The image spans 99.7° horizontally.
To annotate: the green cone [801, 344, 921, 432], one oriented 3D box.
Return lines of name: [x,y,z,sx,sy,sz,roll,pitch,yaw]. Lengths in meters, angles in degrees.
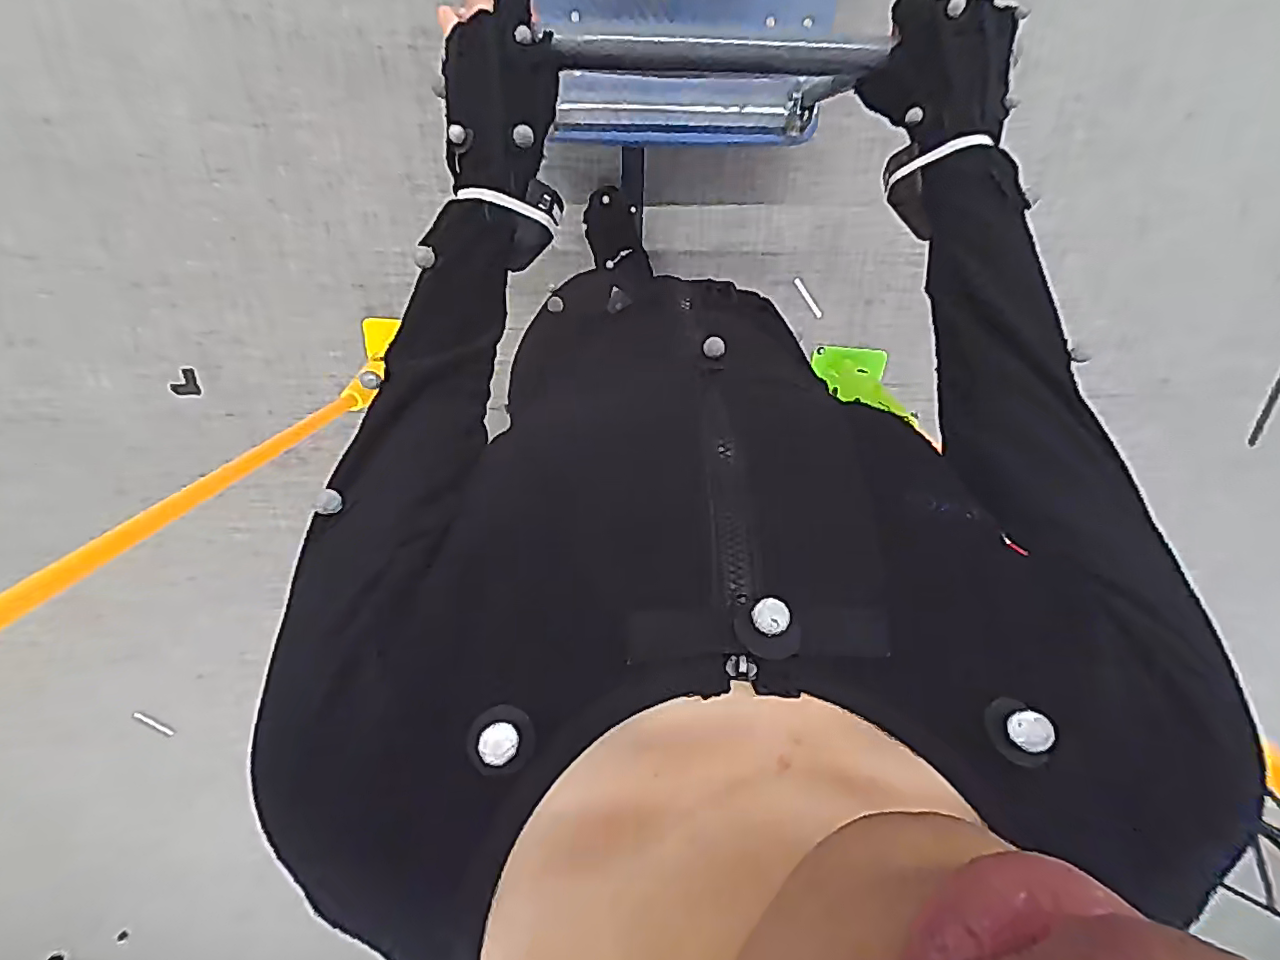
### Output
green cone: [0.556,-0.190,1.302,0.202,0.368,0.200,2,115,-6]
